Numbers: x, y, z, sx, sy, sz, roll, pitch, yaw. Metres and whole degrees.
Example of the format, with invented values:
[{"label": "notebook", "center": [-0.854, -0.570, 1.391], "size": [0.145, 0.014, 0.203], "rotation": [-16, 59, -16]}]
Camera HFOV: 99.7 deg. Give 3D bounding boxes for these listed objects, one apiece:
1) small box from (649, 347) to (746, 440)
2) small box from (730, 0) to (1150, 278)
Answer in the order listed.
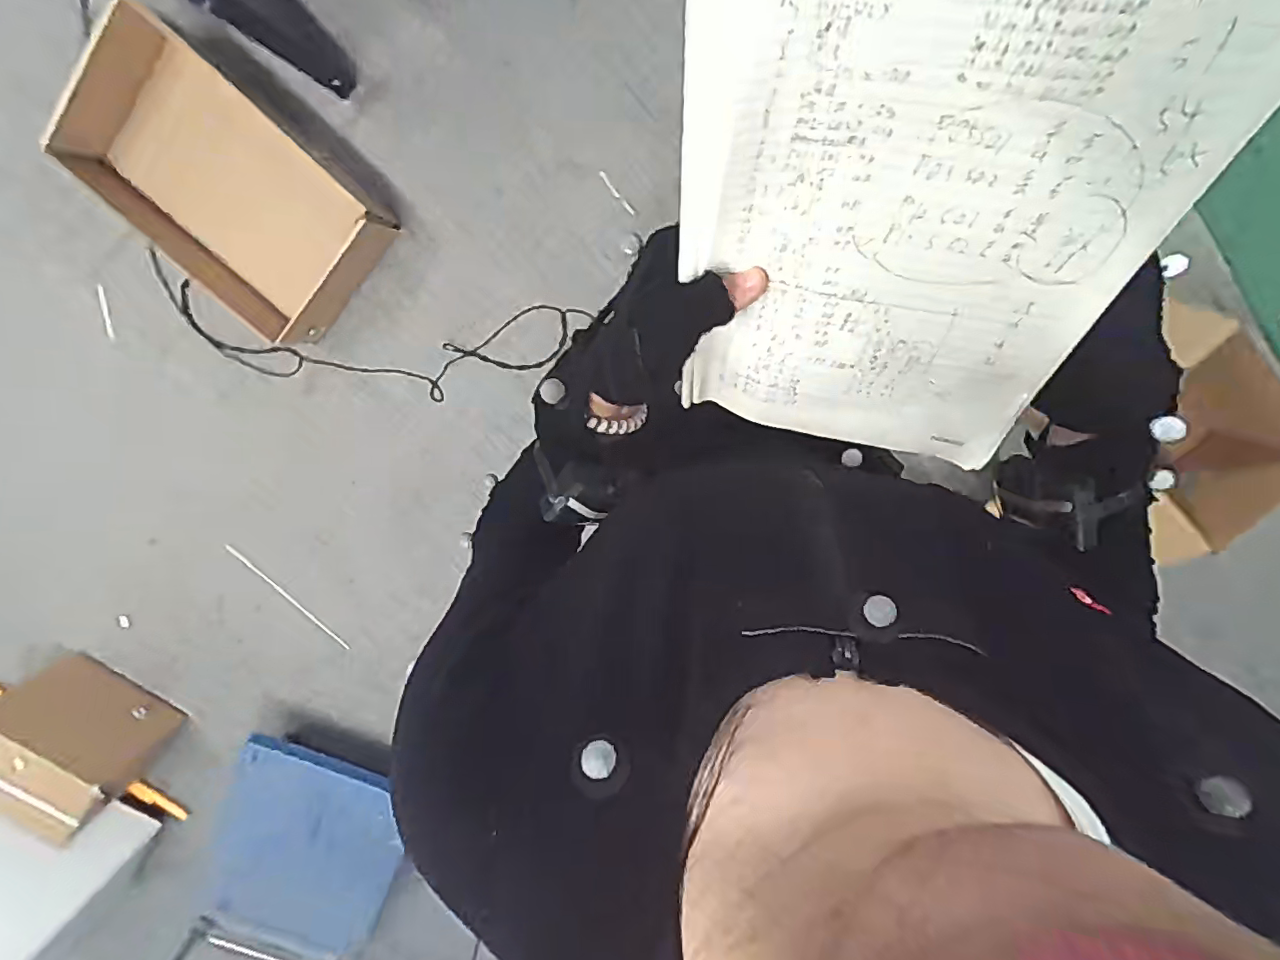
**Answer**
[{"label": "small box", "center": [0.143, -0.225, 1.379], "size": [0.179, 0.176, 0.168], "rotation": [46, 115, 8]}, {"label": "small box", "center": [0.145, -0.236, 0.323], "size": [0.168, 0.176, 0.179], "rotation": [2, 129, 4]}]
